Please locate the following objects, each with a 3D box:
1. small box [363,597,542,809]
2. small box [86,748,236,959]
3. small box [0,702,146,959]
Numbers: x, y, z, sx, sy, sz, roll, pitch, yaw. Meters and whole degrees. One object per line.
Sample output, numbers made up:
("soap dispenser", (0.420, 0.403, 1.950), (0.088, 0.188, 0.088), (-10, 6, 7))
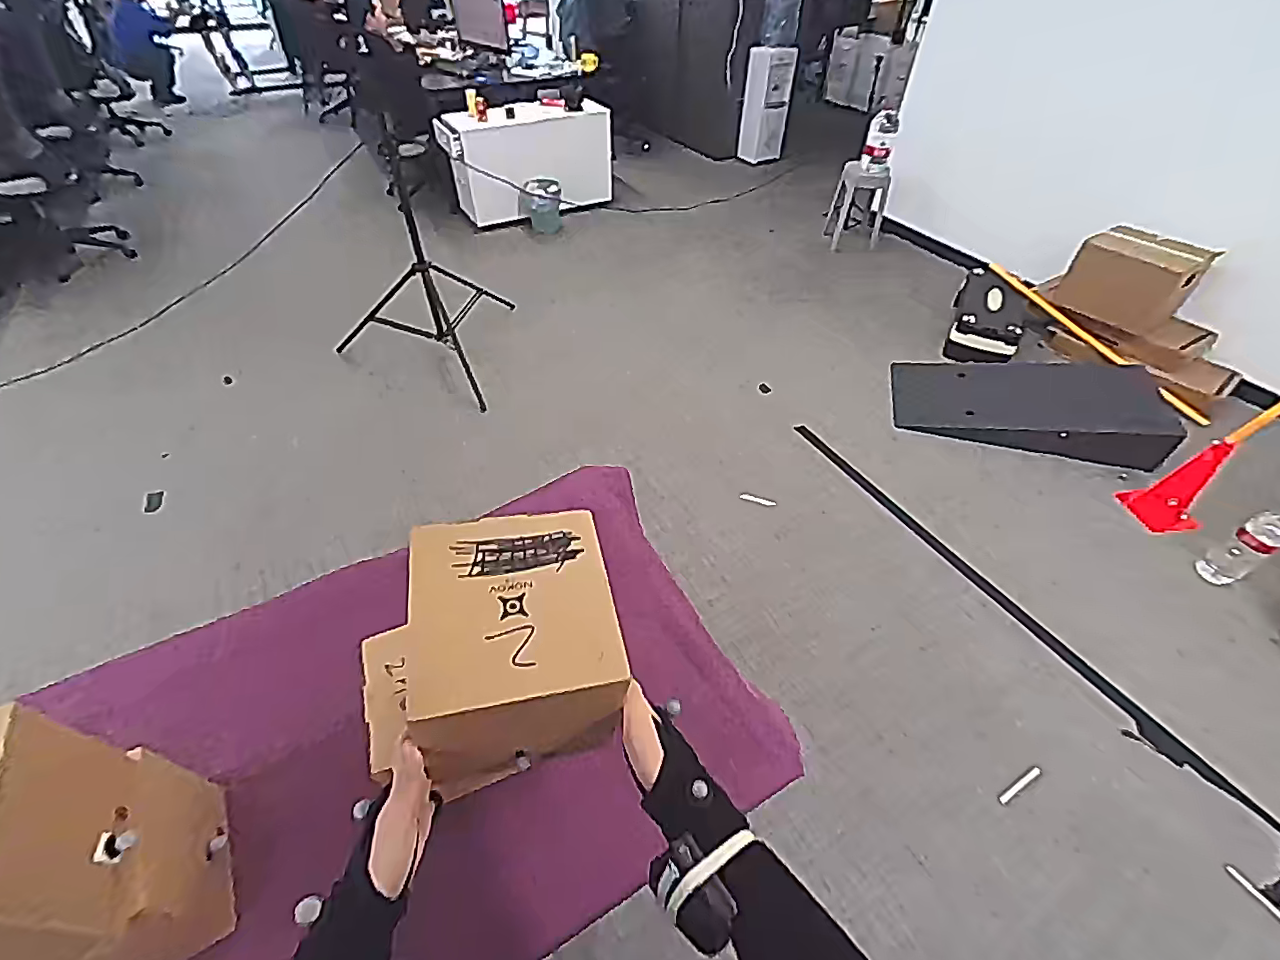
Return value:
("small box", (-0.230, 0.284, 0.691), (0.179, 0.176, 0.168), (-17, 48, -16))
("small box", (-0.560, 0.422, 0.555), (0.179, 0.176, 0.168), (-23, 51, -23))
("small box", (-0.552, 0.319, 0.429), (0.179, 0.176, 0.168), (-21, 52, -21))
